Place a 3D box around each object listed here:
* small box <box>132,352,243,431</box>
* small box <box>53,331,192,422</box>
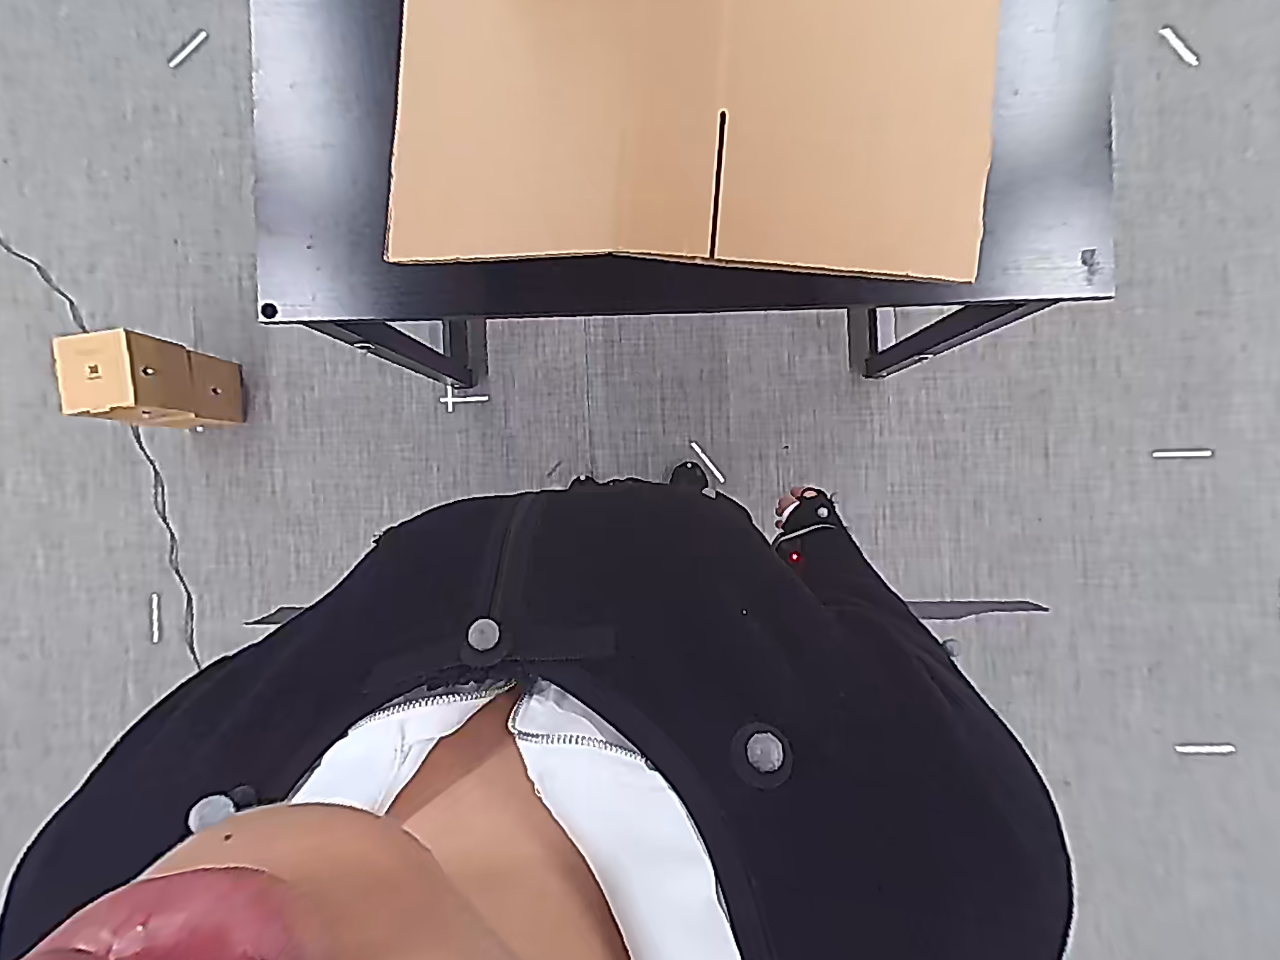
[{"bbox_3d":[-1.205,-0.230,1.442,0.168,0.176,0.179,-5,91,2],"label":"small box"},{"bbox_3d":[-1.211,-0.235,1.280,0.168,0.176,0.179,-8,89,1],"label":"small box"}]
